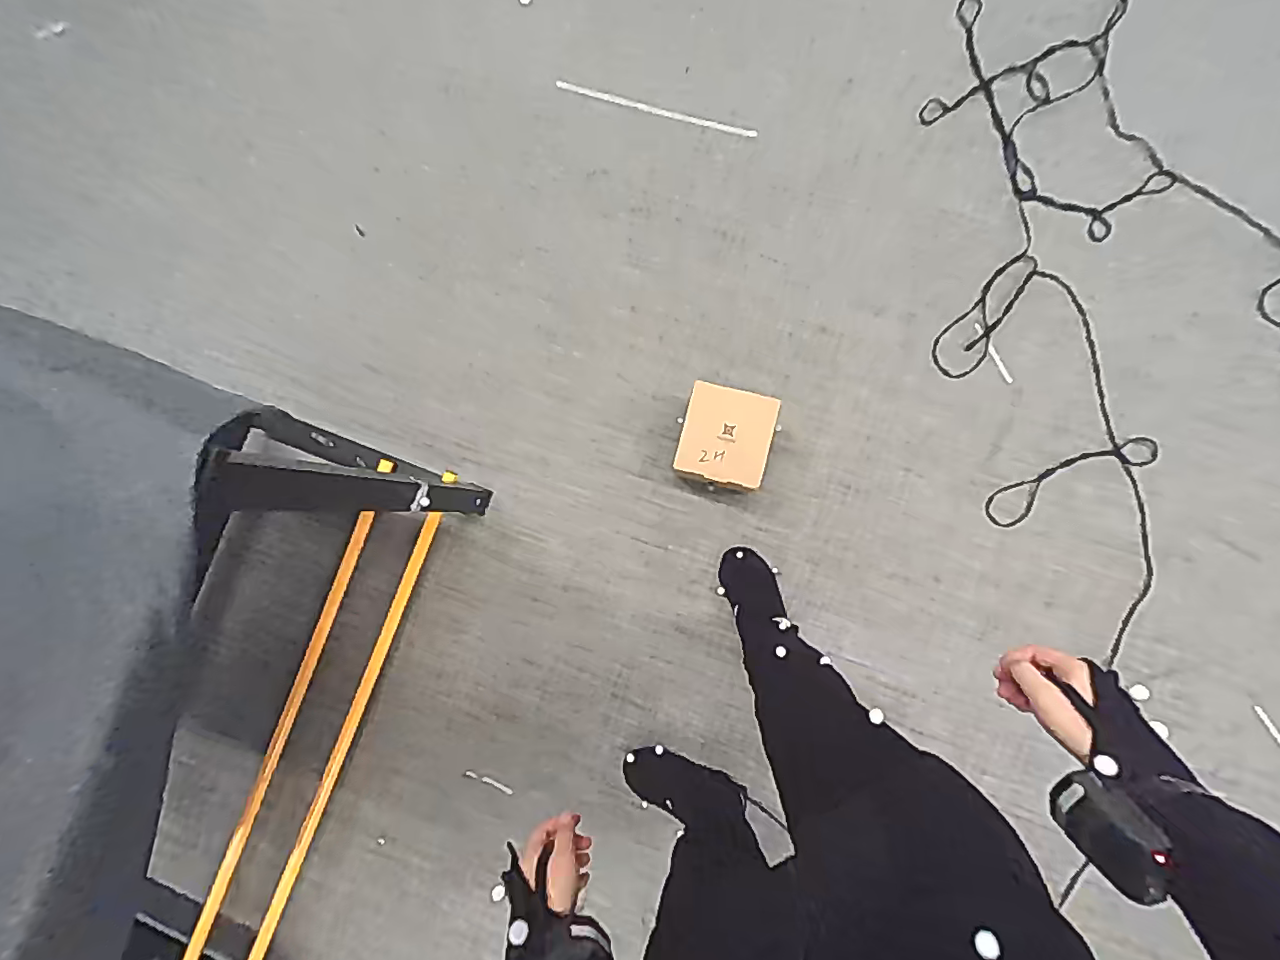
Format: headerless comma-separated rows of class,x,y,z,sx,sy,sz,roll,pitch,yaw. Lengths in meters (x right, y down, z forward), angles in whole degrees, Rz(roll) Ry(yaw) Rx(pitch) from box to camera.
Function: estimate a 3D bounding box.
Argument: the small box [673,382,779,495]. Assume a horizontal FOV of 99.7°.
small box,0.166,-0.076,1.083,0.168,0.176,0.179,15,87,6
